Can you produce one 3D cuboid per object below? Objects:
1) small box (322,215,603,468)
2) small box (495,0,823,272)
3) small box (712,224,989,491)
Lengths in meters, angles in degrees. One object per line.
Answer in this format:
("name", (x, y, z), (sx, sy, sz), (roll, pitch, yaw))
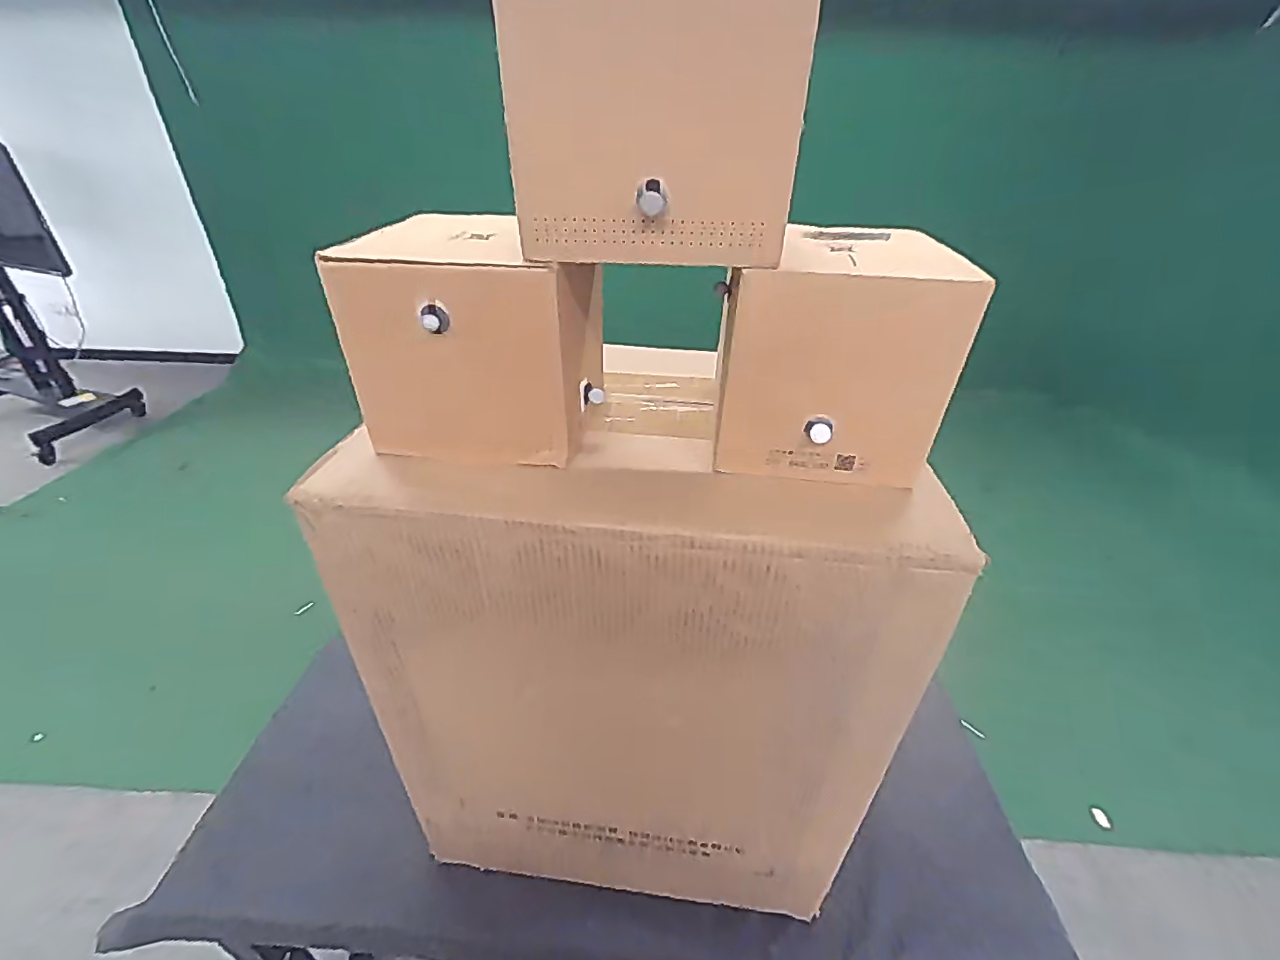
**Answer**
("small box", (-0.132, -0.126, 0.482), (0.179, 0.176, 0.168), (6, 37, 4))
("small box", (0.011, -0.254, 0.381), (0.179, 0.176, 0.168), (3, 36, 1))
("small box", (0.154, -0.113, 0.471), (0.168, 0.176, 0.179), (5, 37, 4))
